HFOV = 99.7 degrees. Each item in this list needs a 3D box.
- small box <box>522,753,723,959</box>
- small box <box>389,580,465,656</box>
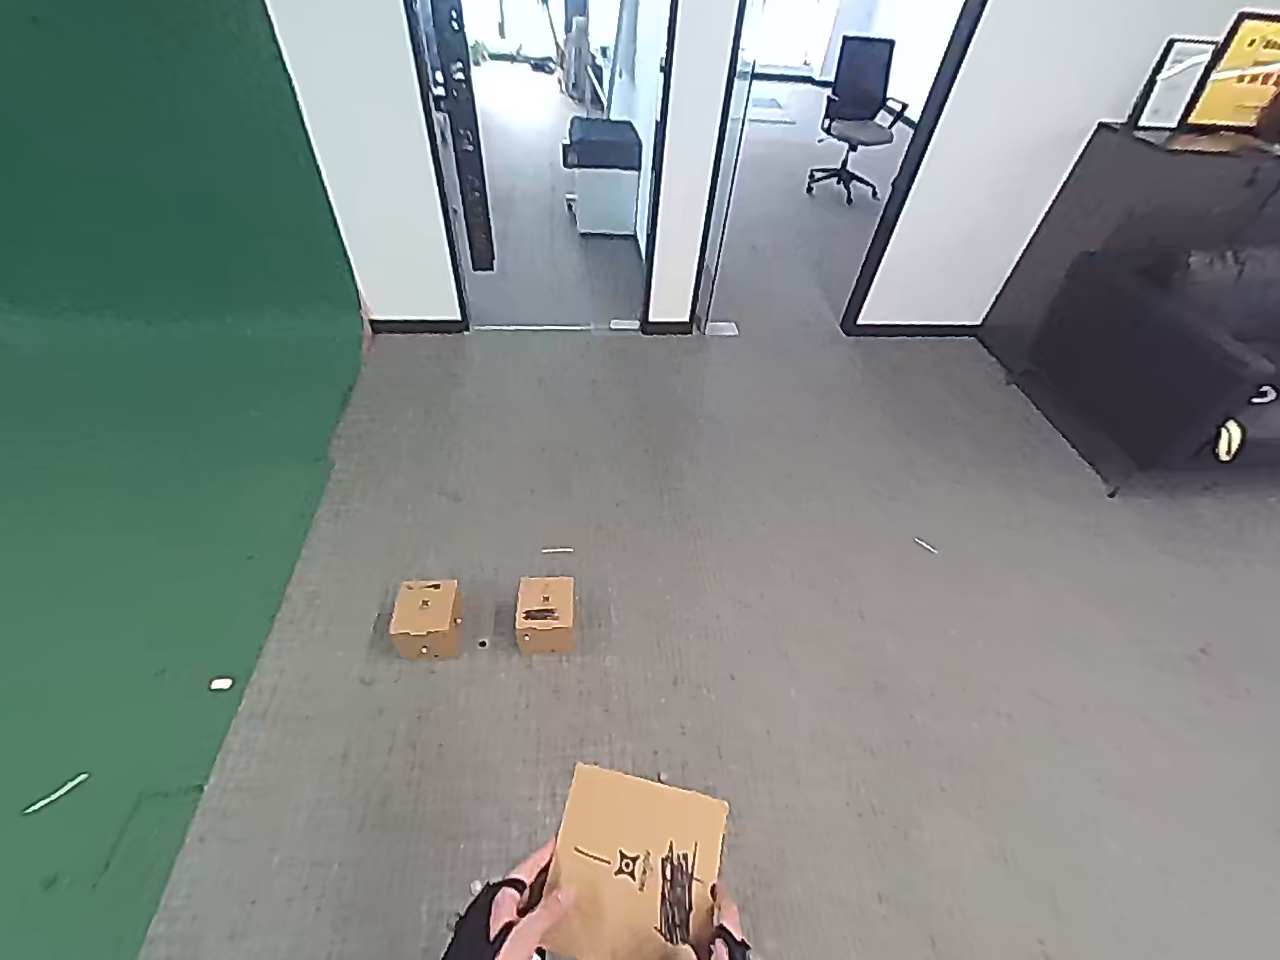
[{"bbox_3d":[-0.012,0.431,0.624,0.179,0.176,0.168,11,59,8],"label":"small box"},{"bbox_3d":[-0.634,0.421,1.634,0.168,0.176,0.179,0,47,-6],"label":"small box"}]
